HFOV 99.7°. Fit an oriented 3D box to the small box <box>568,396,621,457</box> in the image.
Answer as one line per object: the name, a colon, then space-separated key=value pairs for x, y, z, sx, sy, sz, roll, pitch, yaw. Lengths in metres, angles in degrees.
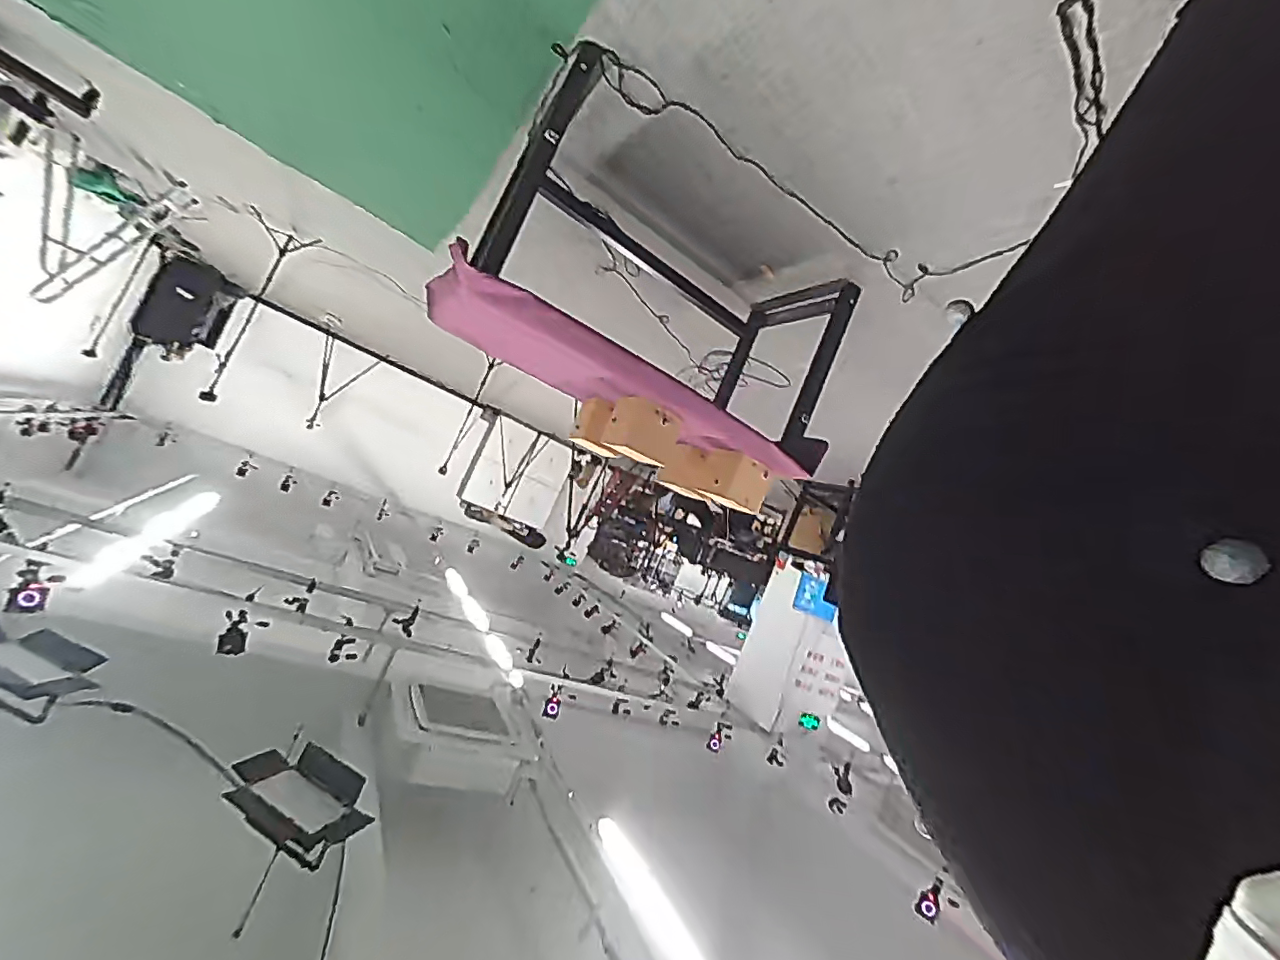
small box: x=-0.139 y=-0.196 z=1.986 sx=0.168 sy=0.176 sz=0.179 roll=25 pitch=173 yaw=-24

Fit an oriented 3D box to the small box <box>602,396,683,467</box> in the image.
small box: x=0.010 y=-0.158 z=1.713 sx=0.168 sy=0.176 sz=0.179 roll=25 pitch=175 yaw=-29

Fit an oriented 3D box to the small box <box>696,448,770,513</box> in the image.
small box: x=0.333 y=-0.003 z=1.890 sx=0.168 sy=0.176 sz=0.179 roll=26 pitch=176 yaw=-31
